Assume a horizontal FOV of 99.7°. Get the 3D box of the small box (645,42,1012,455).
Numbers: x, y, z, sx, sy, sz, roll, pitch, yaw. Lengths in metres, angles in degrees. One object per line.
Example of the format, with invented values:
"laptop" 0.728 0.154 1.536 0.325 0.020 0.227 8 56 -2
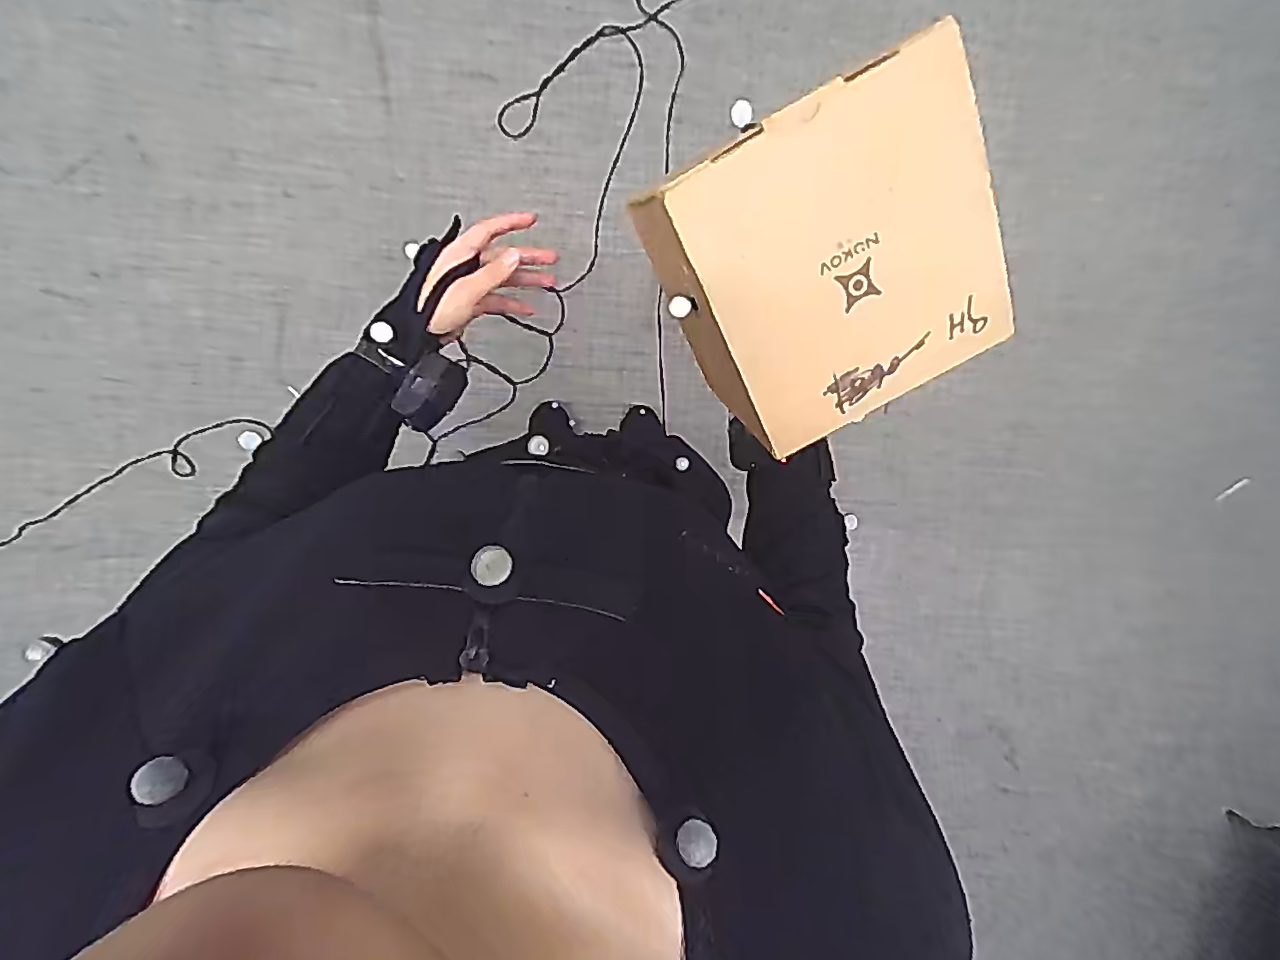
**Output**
"small box" 0.117 -0.152 0.388 0.168 0.176 0.179 -28 116 5
